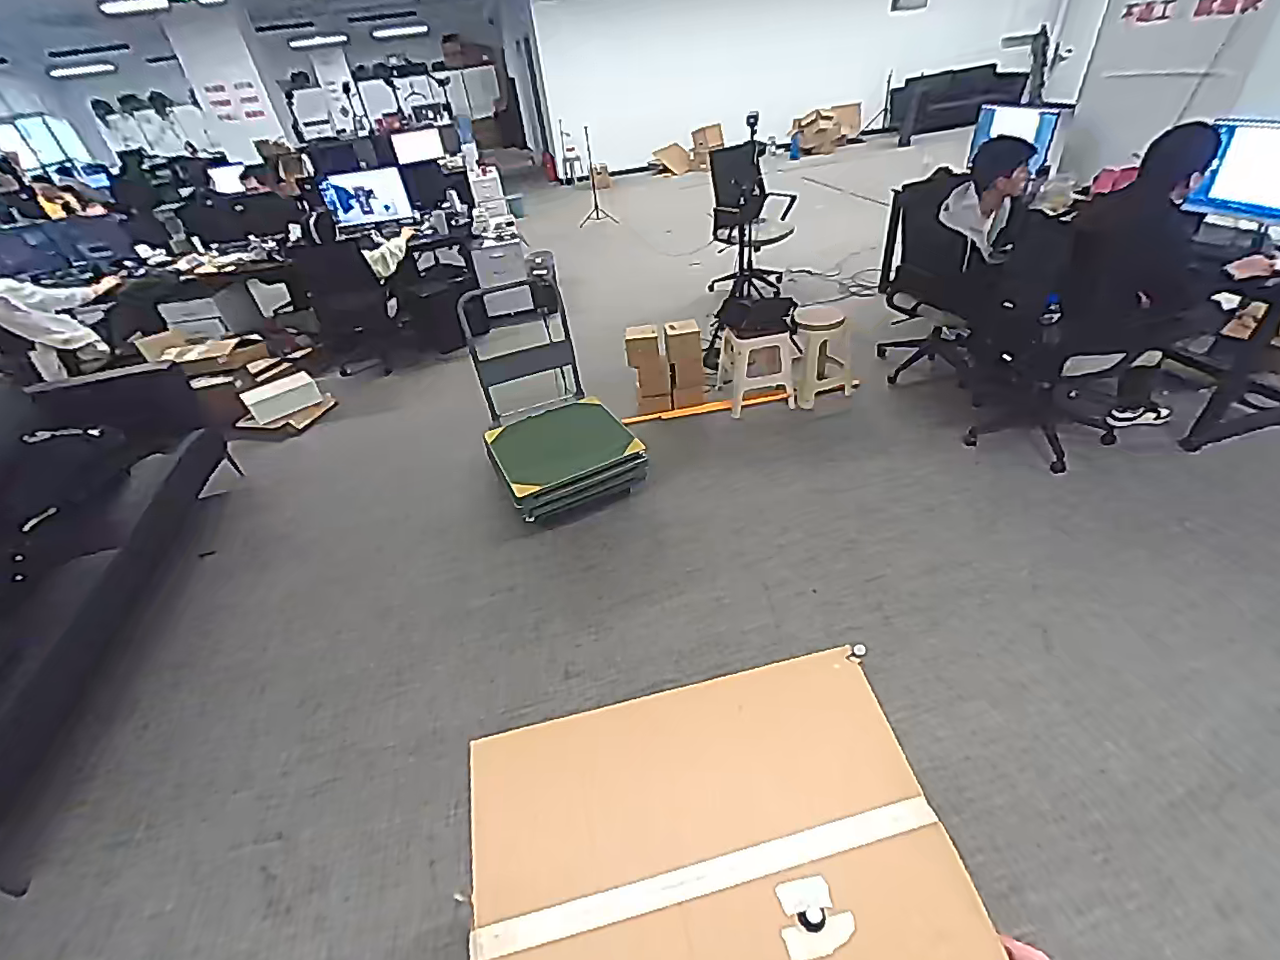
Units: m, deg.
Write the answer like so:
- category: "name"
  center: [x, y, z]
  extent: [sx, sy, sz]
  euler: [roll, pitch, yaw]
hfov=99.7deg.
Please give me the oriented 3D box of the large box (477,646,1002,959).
- category: "large box"
  center: [0.069, 0.430, 0.586]
  extent: [0.408, 0.320, 0.320]
  euler: [-12, 52, -7]
